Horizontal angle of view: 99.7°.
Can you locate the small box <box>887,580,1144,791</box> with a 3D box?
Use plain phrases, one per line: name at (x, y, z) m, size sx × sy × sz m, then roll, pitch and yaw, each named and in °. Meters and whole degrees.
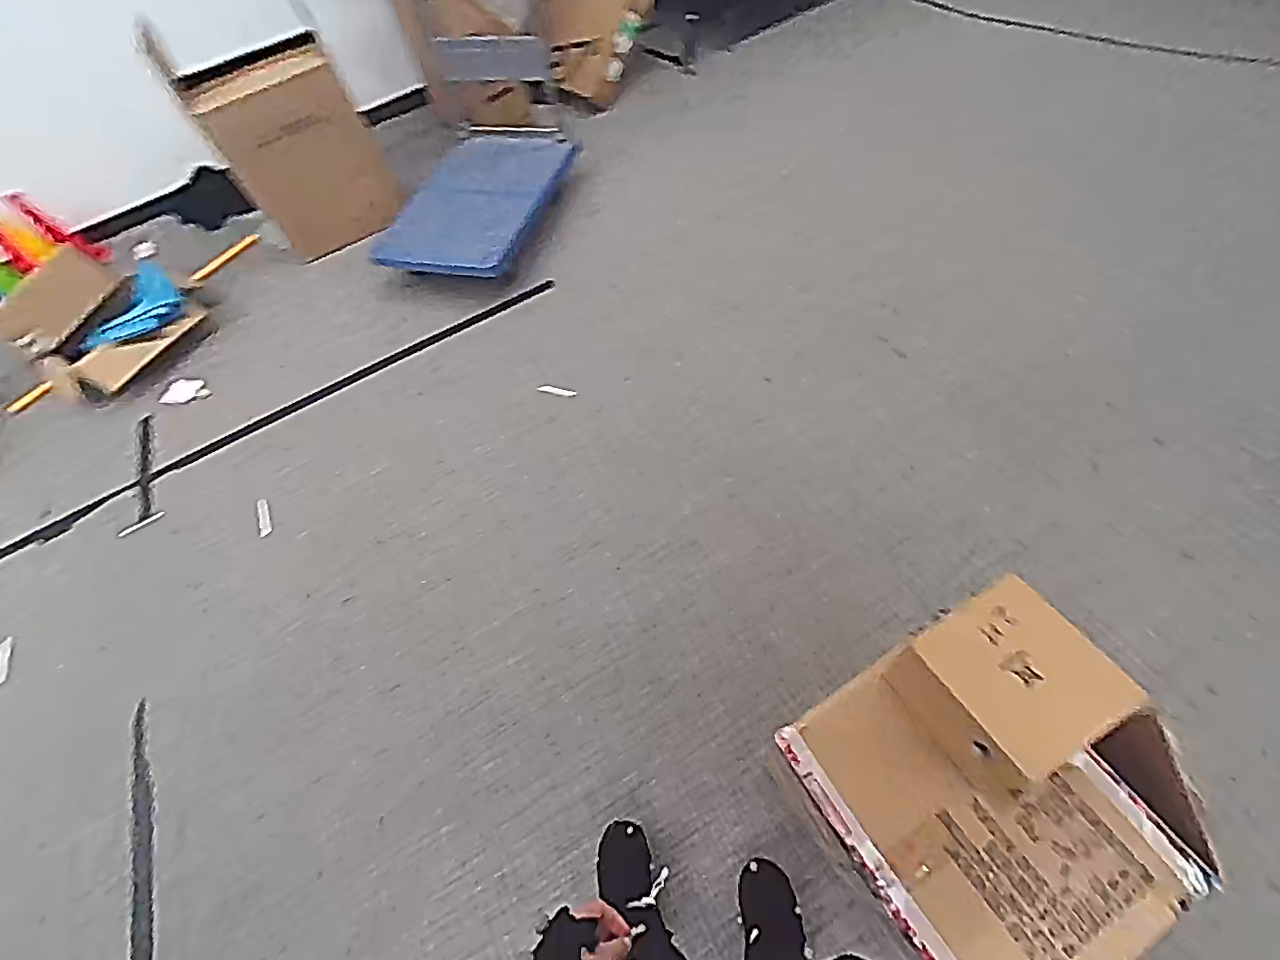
small box at (0.445, 0.262, 0.678) m, size 0.168 × 0.176 × 0.179 m, roll -30°, pitch 56°, yaw -7°
